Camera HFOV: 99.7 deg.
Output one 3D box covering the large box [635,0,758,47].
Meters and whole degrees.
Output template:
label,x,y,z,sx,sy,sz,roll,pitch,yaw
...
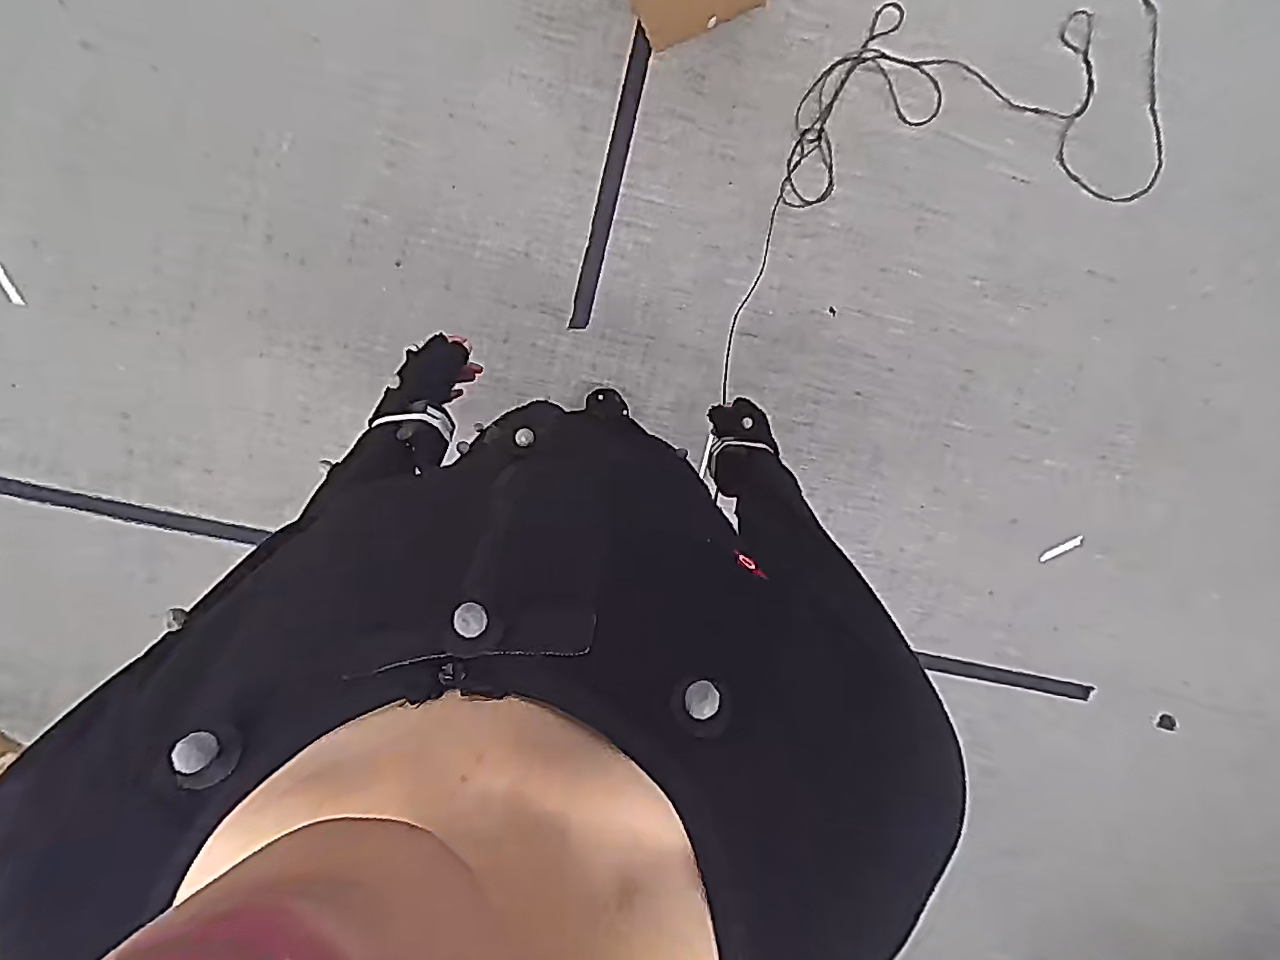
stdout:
label,x,y,z,sx,sy,sz,roll,pitch,yaw
large box,0.098,-1.284,1.159,0.320,0.320,0.408,-25,100,1
